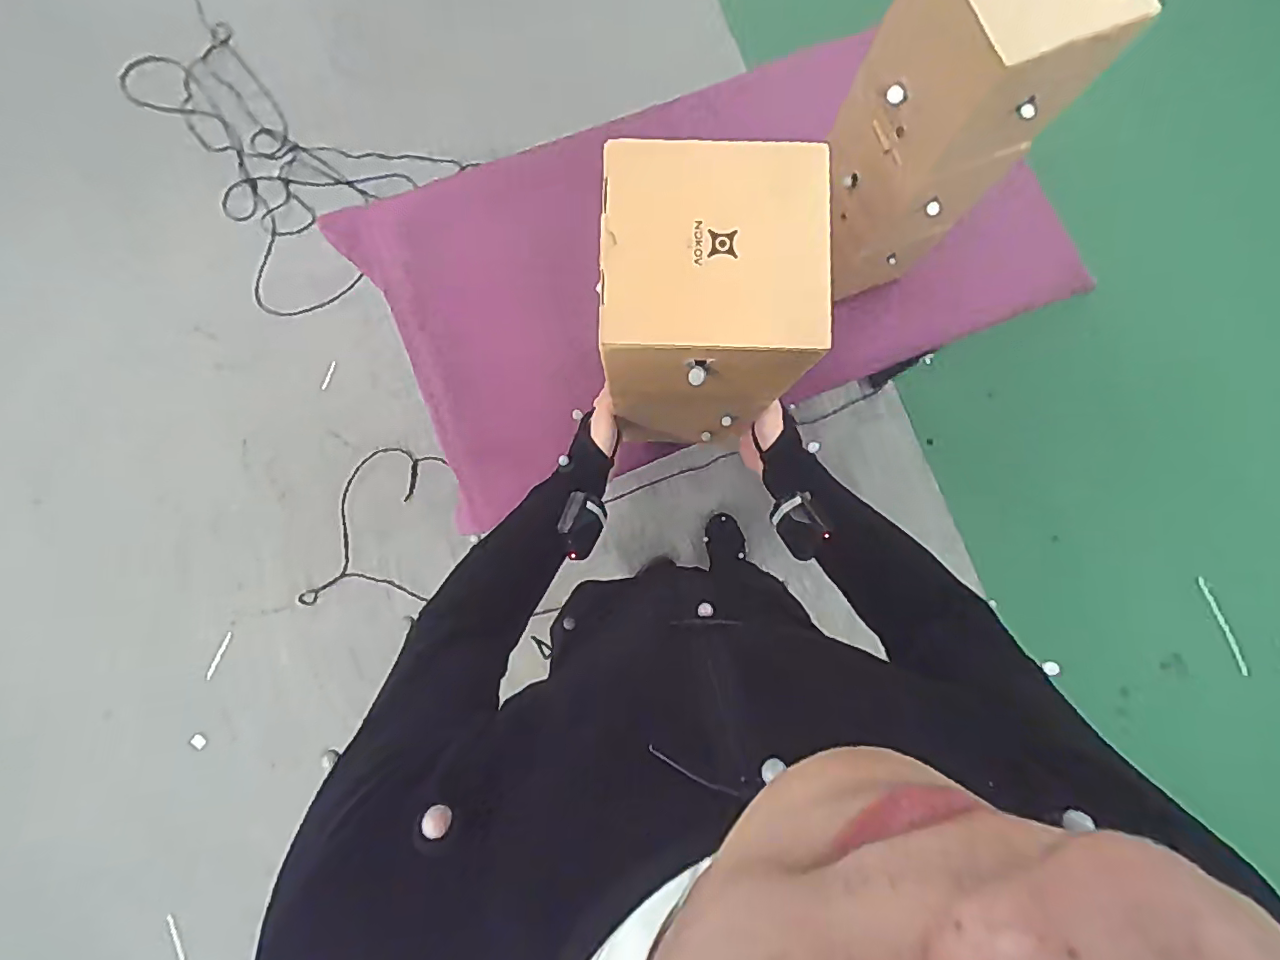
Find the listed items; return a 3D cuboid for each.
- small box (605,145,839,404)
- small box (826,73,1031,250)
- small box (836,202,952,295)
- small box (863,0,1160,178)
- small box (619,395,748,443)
[{"bbox_3d":[0.064,-0.167,0.489,0.179,0.176,0.168,1,86,2],"label":"small box"},{"bbox_3d":[0.381,-0.458,0.760,0.179,0.176,0.168,-22,85,-3],"label":"small box"},{"bbox_3d":[0.377,-0.436,0.921,0.179,0.176,0.168,-20,84,-4],"label":"small box"},{"bbox_3d":[0.386,-0.480,0.596,0.179,0.176,0.168,-23,84,-3],"label":"small box"},{"bbox_3d":[0.064,-0.151,0.815,0.179,0.176,0.168,3,84,1],"label":"small box"}]
